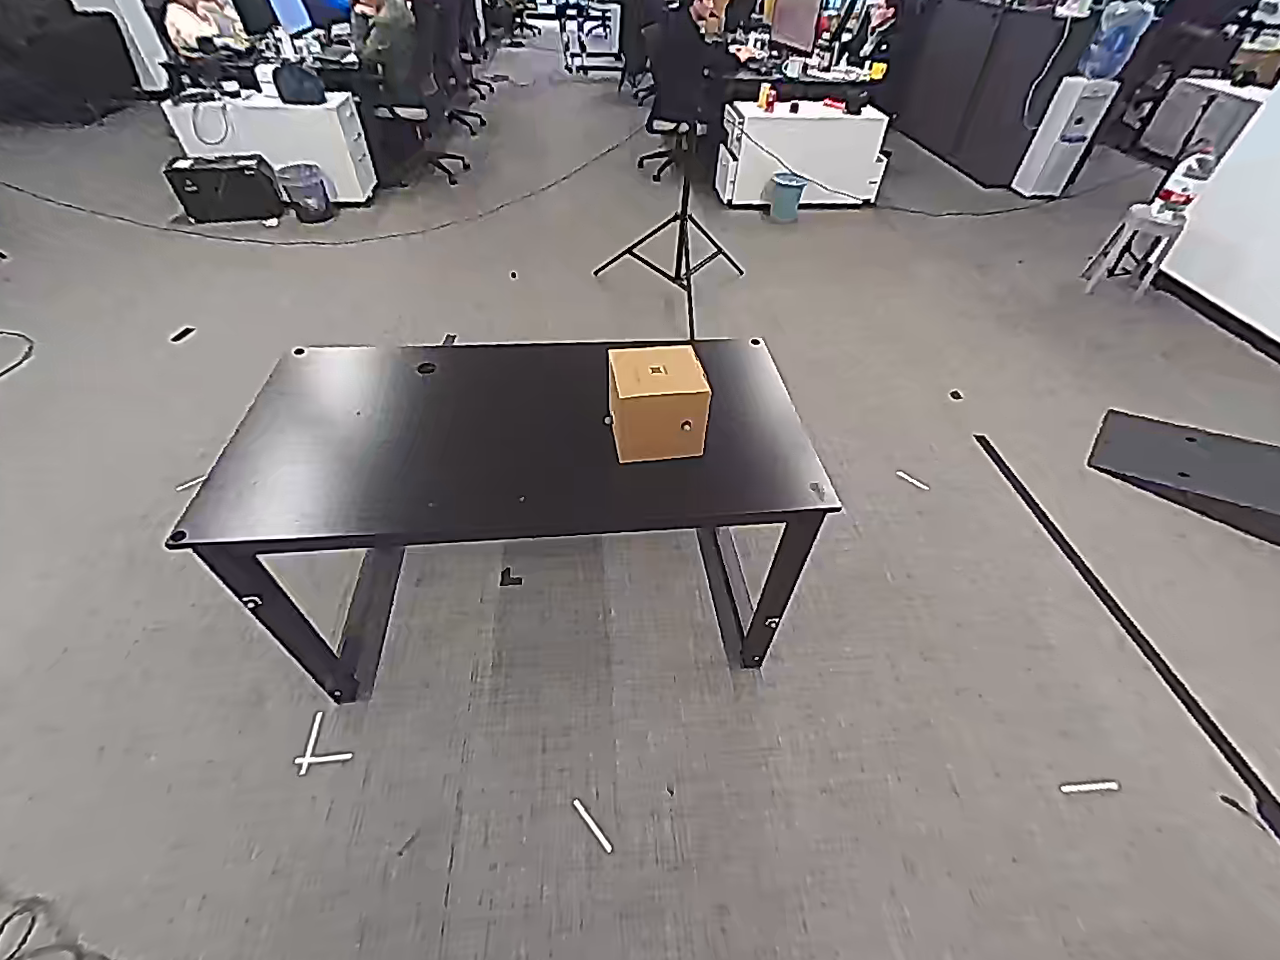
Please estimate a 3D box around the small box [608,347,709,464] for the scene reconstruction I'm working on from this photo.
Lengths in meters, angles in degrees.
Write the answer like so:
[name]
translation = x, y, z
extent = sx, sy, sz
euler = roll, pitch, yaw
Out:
[small box]
translation = 0.030, -0.153, 1.110
extent = 0.179, 0.176, 0.168
euler = -7, 45, -7
